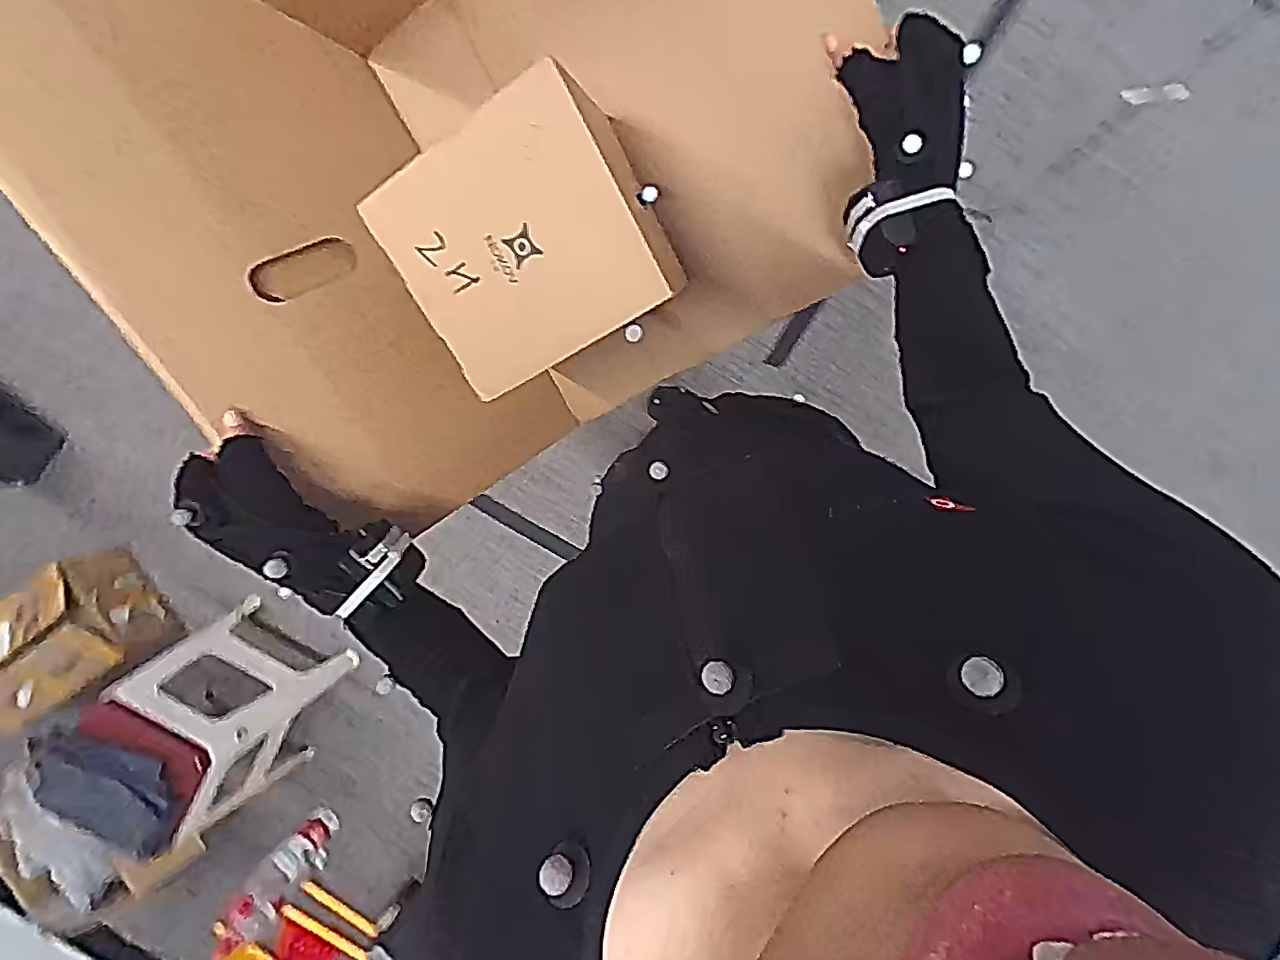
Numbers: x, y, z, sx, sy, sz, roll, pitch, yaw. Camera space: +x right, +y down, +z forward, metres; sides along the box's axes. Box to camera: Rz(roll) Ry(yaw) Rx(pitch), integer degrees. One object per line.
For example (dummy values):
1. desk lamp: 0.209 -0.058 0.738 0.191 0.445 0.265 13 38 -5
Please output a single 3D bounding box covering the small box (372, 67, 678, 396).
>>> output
1. small box: -0.076 -0.199 0.467 0.179 0.176 0.168 -23 106 18
